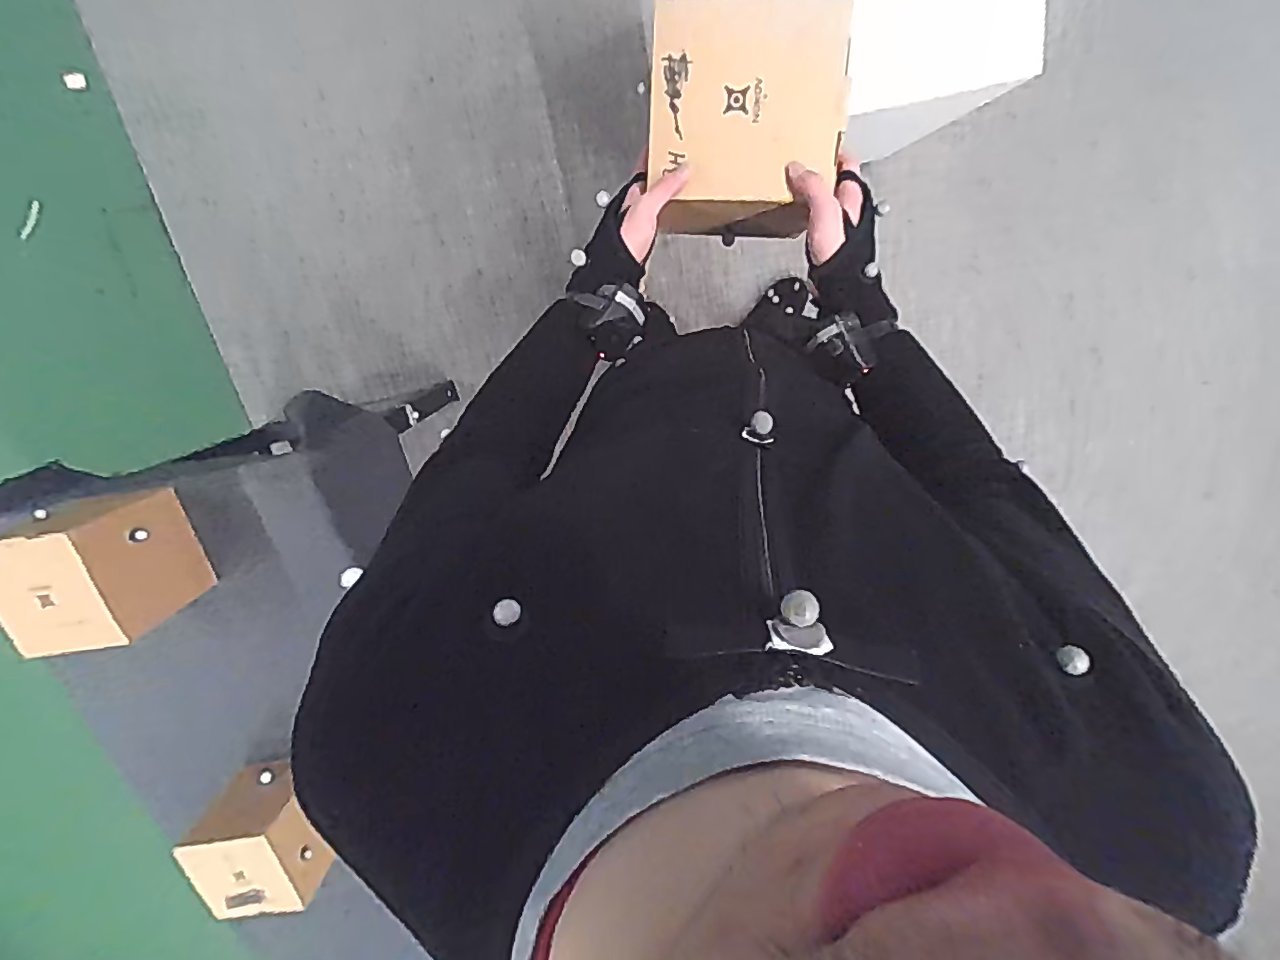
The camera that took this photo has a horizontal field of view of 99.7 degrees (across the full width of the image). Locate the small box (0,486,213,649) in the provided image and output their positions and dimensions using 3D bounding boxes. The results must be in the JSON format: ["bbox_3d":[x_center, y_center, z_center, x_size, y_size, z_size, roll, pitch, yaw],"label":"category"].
[{"bbox_3d":[-0.795,0.118,0.797,0.168,0.176,0.179,-8,111,5],"label":"small box"}]

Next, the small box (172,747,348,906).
[{"bbox_3d":[-0.670,0.622,0.981,0.168,0.176,0.179,-10,109,4],"label":"small box"}]

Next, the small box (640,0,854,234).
[{"bbox_3d":[0.095,-0.360,0.555,0.179,0.176,0.168,4,103,3],"label":"small box"}]
